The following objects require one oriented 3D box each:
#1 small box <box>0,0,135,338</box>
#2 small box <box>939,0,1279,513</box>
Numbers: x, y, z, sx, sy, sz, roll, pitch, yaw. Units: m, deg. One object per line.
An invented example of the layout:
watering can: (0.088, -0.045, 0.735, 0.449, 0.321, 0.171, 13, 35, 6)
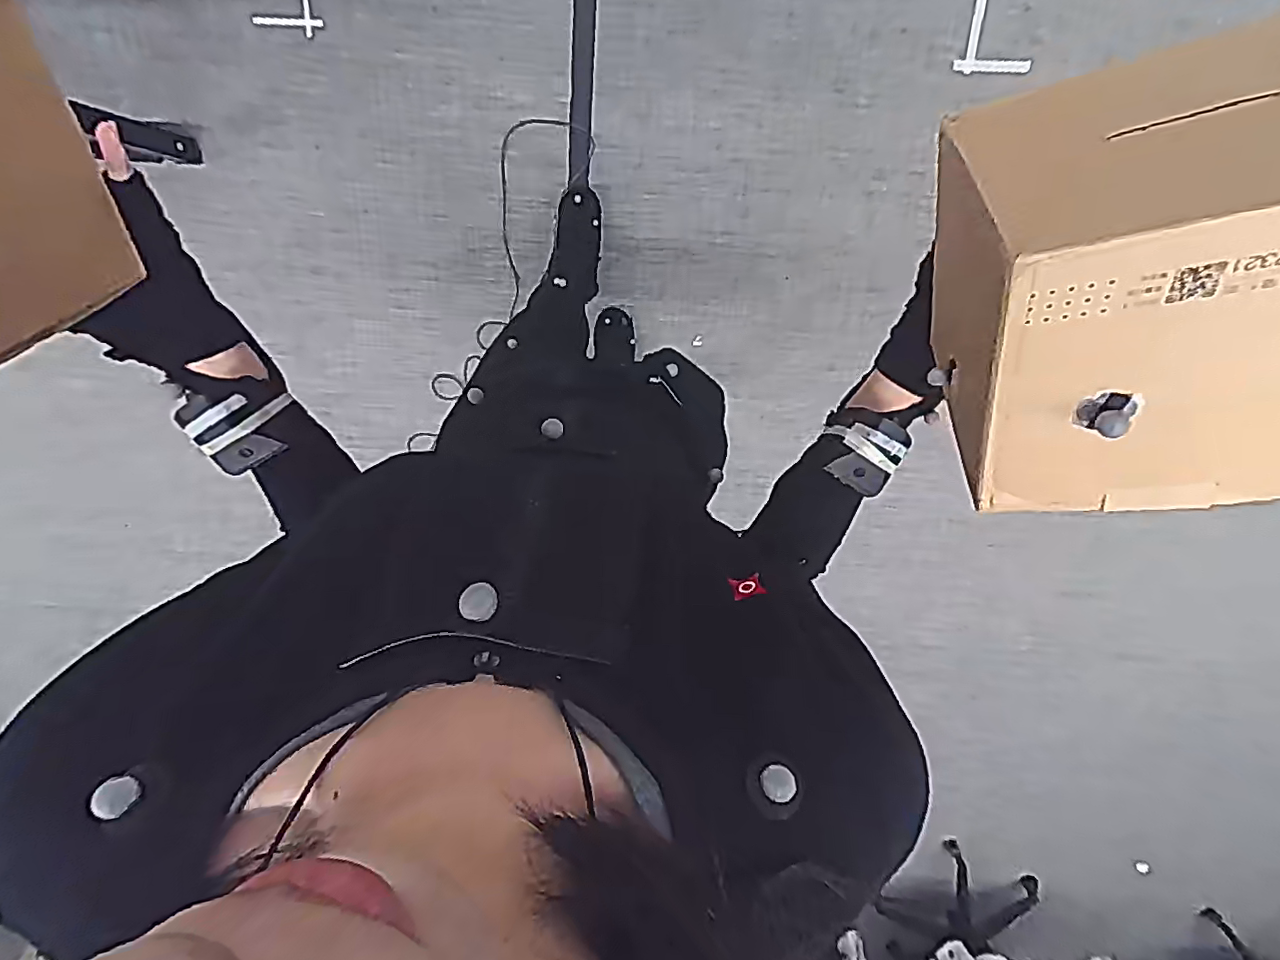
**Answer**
small box: (-0.383, -0.149, 0.216, 0.168, 0.179, 0.176, 2, 129, -7)
small box: (0.262, -0.105, 0.276, 0.168, 0.179, 0.176, -4, 137, 21)
